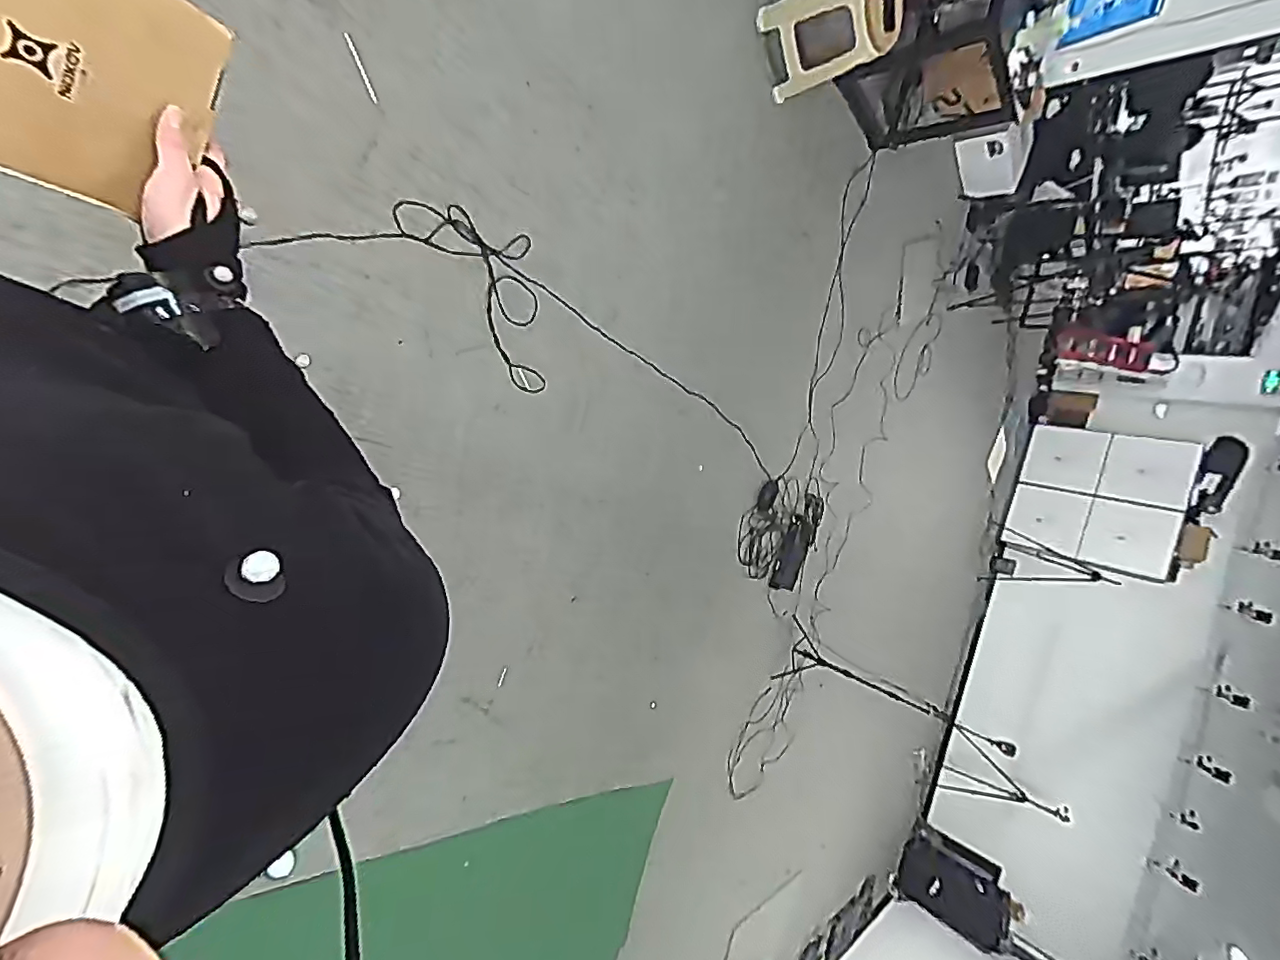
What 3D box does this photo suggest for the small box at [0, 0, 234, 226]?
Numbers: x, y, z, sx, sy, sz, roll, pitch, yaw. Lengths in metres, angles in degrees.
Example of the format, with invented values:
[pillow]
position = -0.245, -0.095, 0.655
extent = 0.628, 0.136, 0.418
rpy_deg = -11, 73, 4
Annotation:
[small box]
position = -0.457, -0.331, 0.405
extent = 0.179, 0.176, 0.168
rpy_deg = 6, 118, -58
